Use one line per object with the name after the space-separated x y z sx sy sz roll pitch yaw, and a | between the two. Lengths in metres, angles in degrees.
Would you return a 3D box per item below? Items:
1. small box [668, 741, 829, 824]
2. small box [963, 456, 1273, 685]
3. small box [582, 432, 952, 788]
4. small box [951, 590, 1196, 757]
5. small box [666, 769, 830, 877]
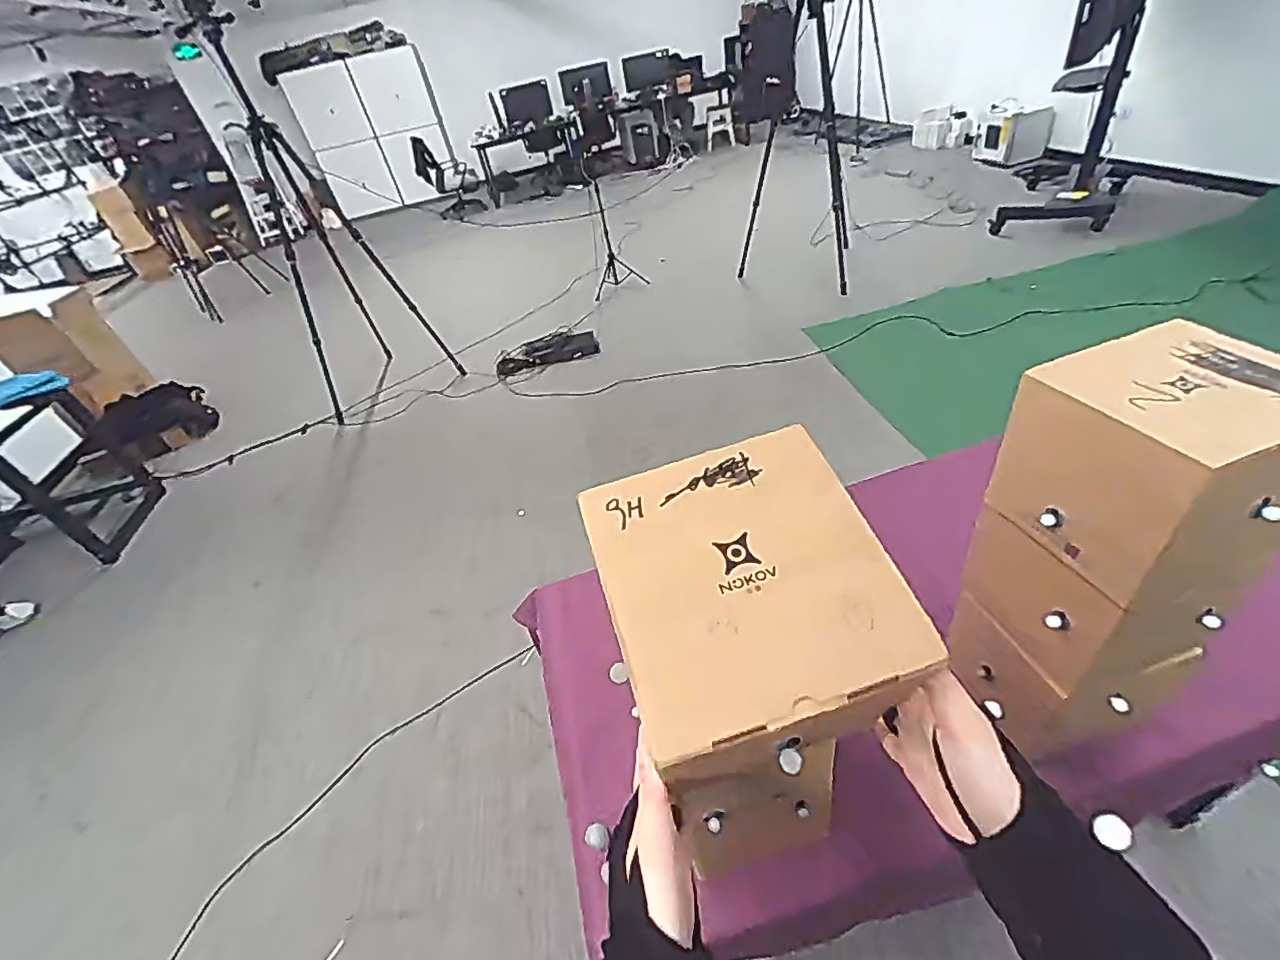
0.090 0.235 0.579 0.168 0.176 0.179 -17 38 -5 | small box
0.508 0.106 0.611 0.168 0.176 0.179 -17 39 -5 | small box
0.070 0.100 0.384 0.168 0.176 0.179 -17 57 -5 | small box
0.539 0.232 0.710 0.179 0.176 0.168 -16 40 -3 | small box
0.119 0.360 0.680 0.179 0.176 0.168 -17 39 -5 | small box
